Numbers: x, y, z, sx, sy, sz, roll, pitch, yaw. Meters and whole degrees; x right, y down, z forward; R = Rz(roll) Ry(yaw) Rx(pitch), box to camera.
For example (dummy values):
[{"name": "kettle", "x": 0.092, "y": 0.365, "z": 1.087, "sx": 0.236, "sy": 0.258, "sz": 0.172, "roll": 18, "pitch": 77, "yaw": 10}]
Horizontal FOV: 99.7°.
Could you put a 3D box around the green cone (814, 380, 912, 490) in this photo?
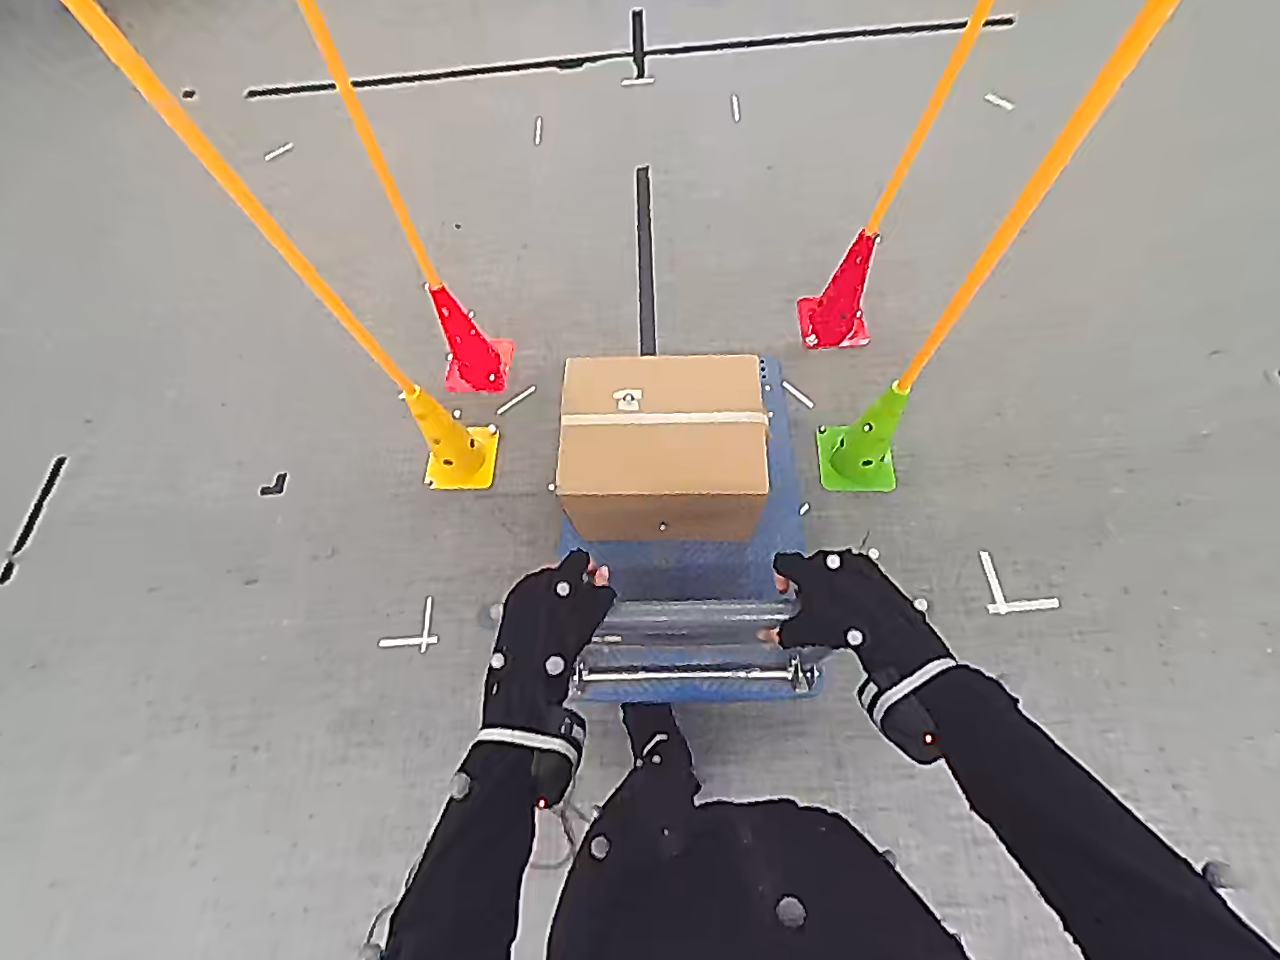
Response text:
[{"name": "green cone", "x": 0.592, "y": -0.133, "z": 1.373, "sx": 0.202, "sy": 0.368, "sz": 0.200, "roll": 0, "pitch": 66, "yaw": 3}]

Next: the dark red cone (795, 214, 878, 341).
[{"name": "dark red cone", "x": 0.593, "y": -0.583, "z": 1.554, "sx": 0.201, "sy": 0.394, "sz": 0.202, "roll": -3, "pitch": 66, "yaw": 1}]

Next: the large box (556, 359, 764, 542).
[{"name": "large box", "x": 0.048, "y": -0.049, "z": 1.218, "sx": 0.408, "sy": 0.320, "sz": 0.320, "roll": -1, "pitch": 66, "yaw": 4}]

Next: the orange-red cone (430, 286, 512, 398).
[{"name": "orange-red cone", "x": -0.530, "y": -0.426, "z": 1.586, "sx": 0.198, "sy": 0.360, "sz": 0.199, "roll": 4, "pitch": 65, "yaw": 5}]
